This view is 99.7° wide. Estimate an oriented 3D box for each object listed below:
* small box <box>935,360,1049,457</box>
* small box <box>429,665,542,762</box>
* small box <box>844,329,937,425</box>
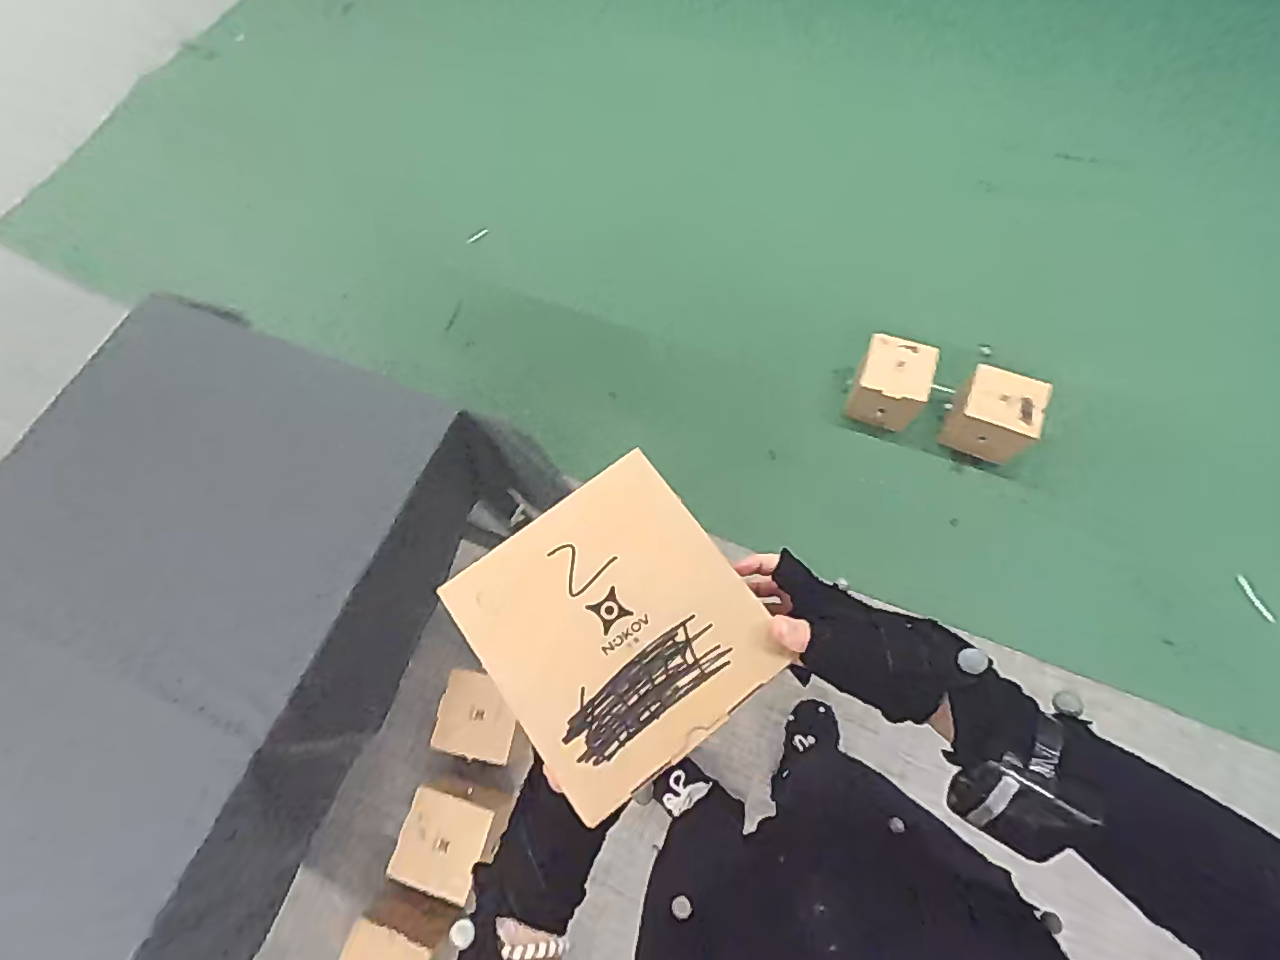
[{"bbox_3d":[0.916,-0.179,1.417,0.179,0.176,0.168,23,73,12],"label":"small box"},{"bbox_3d":[-0.343,0.527,1.234,0.179,0.176,0.168,9,71,7],"label":"small box"},{"bbox_3d":[0.671,-0.273,1.468,0.168,0.176,0.179,19,73,11],"label":"small box"}]
